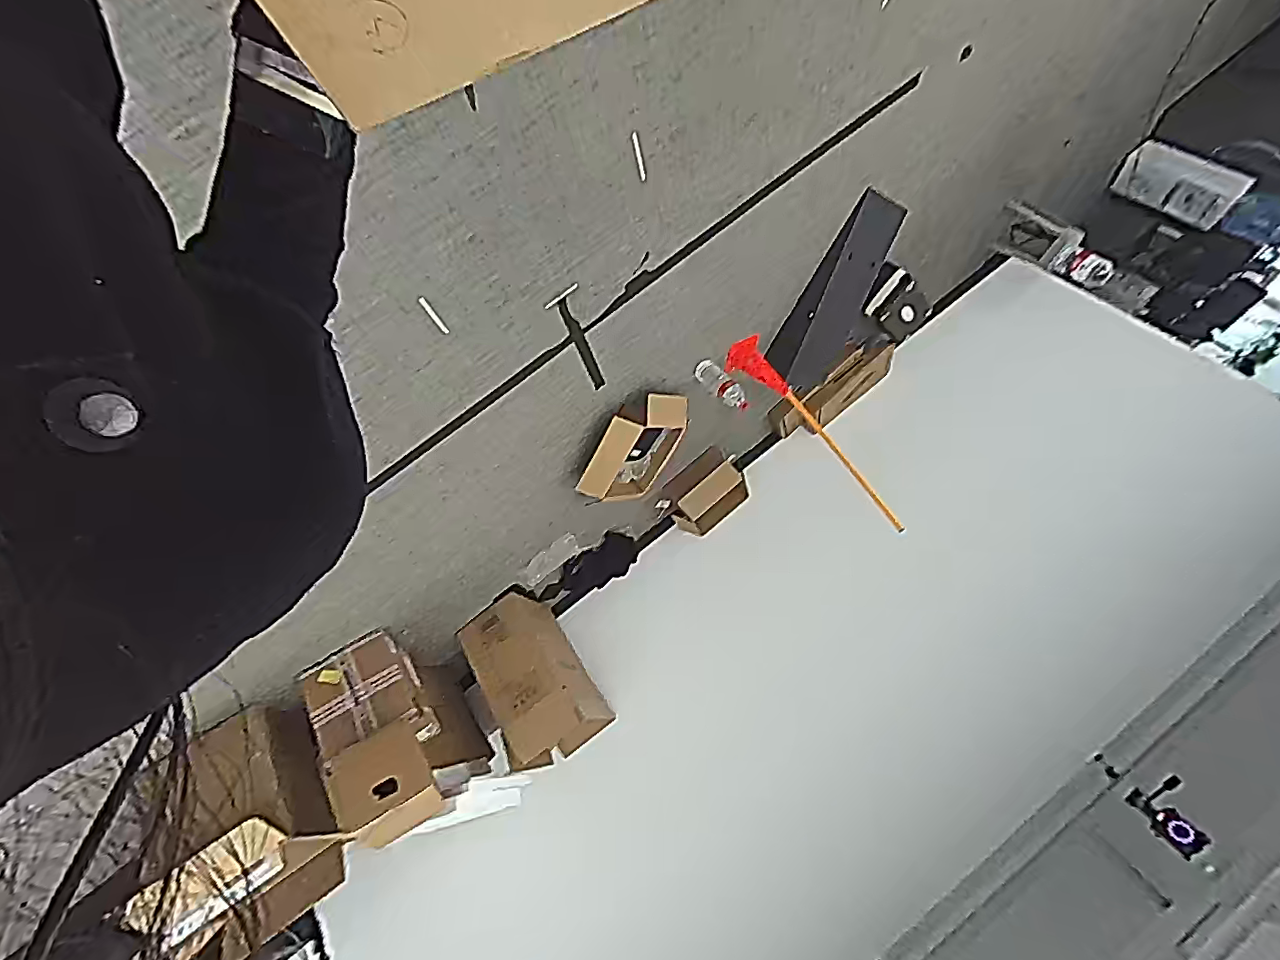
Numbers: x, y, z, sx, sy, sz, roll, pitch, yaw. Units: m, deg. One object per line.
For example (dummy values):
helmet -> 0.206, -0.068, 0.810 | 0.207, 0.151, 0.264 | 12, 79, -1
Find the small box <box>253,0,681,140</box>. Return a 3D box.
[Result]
small box -> -0.095, -0.287, 0.204 | 0.179, 0.176, 0.168 | -23, 163, 3
